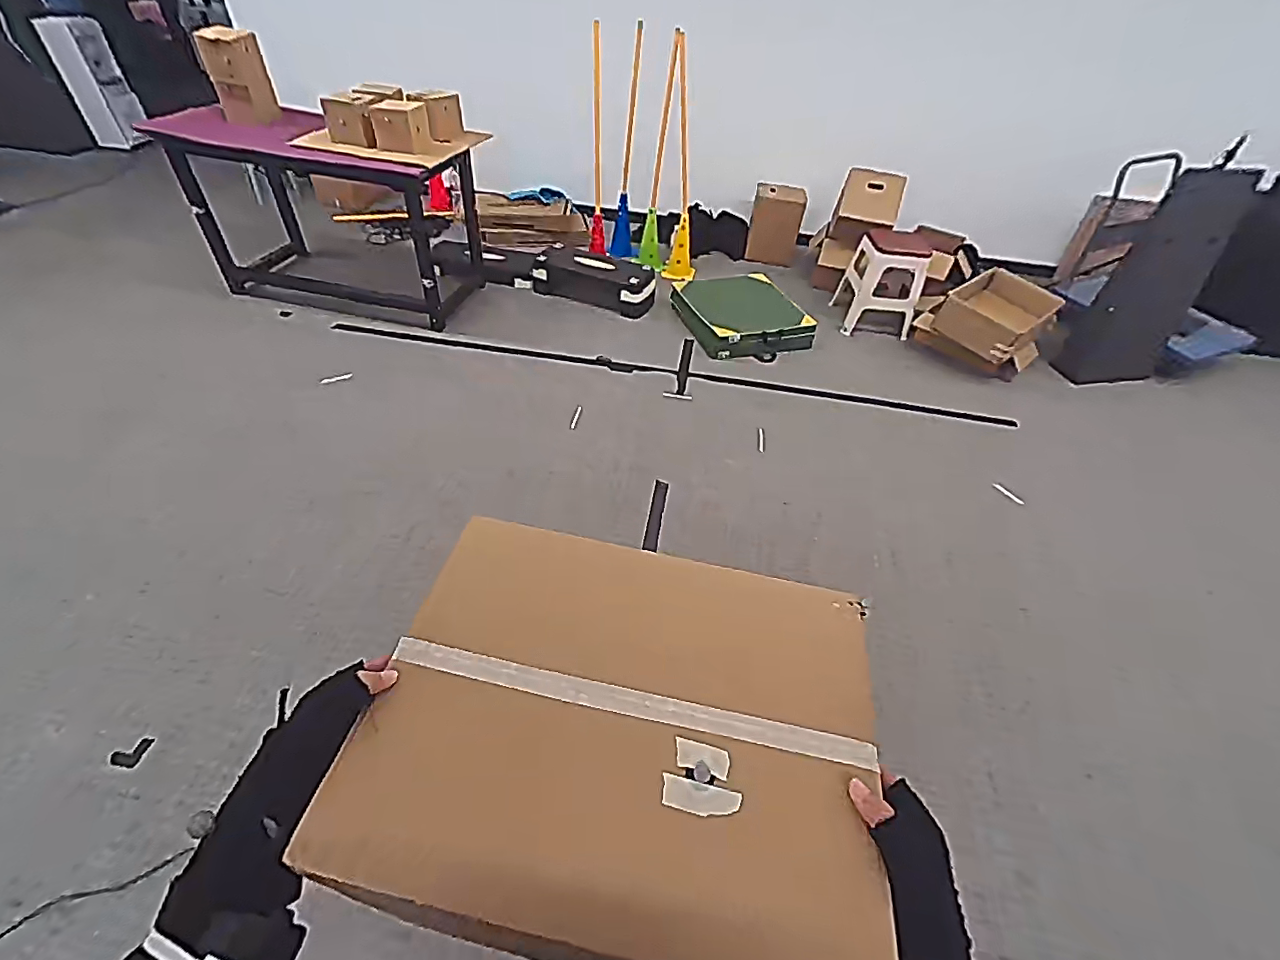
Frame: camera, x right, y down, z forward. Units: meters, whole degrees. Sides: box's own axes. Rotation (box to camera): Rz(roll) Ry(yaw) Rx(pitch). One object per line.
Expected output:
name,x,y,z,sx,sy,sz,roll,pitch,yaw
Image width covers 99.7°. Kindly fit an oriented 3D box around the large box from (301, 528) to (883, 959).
large box,-0.026,0.295,0.562,0.408,0.320,0.320,12,47,4
